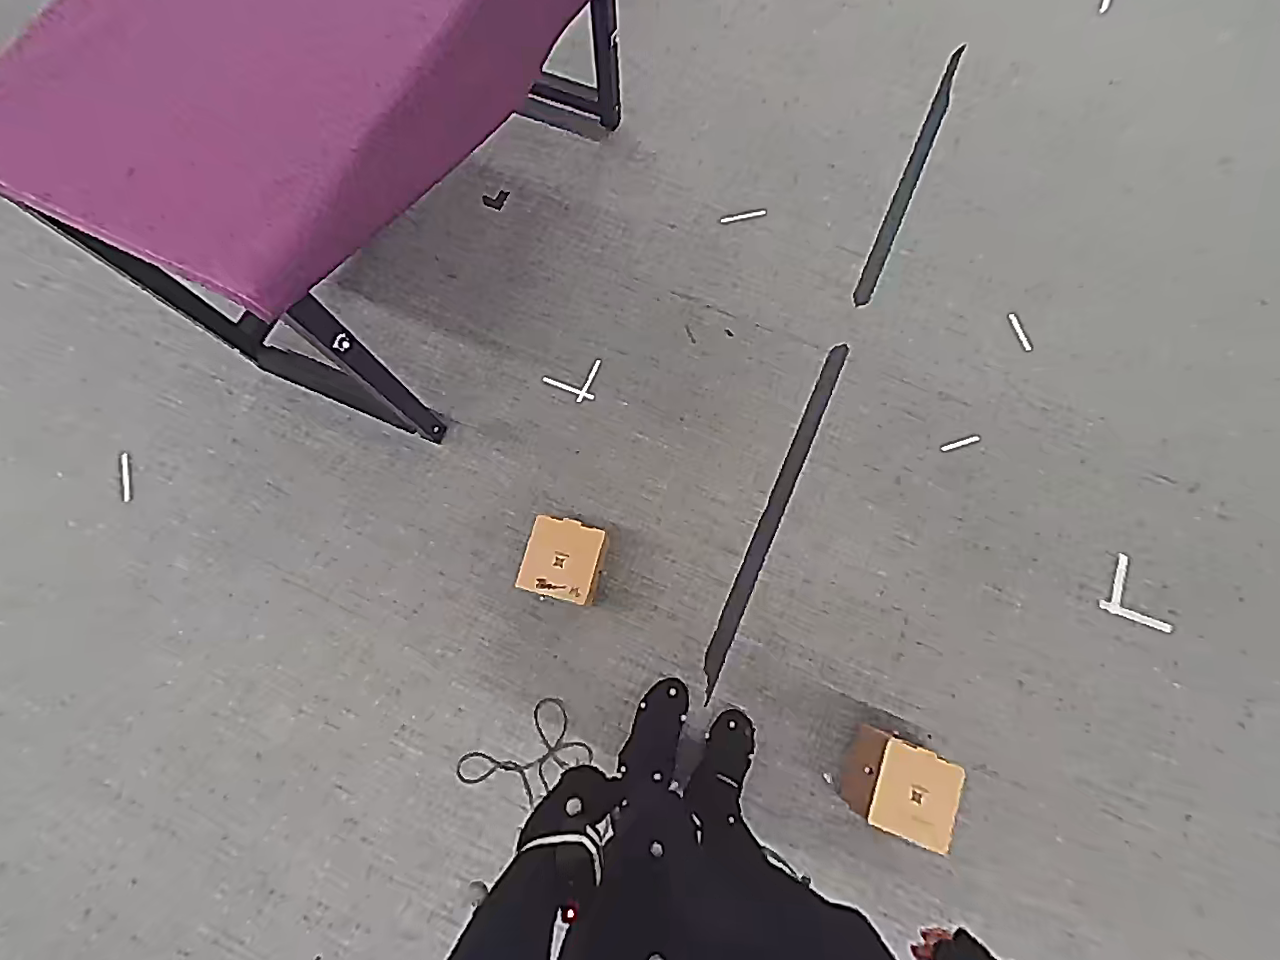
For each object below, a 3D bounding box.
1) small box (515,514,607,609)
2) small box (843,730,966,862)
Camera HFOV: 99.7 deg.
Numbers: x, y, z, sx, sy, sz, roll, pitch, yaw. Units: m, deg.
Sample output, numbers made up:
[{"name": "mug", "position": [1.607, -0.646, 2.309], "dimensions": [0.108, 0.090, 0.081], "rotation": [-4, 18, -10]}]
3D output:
[{"name": "small box", "position": [-0.178, 0.200, 1.290], "dimensions": [0.168, 0.176, 0.179], "rotation": [15, 75, 4]}, {"name": "small box", "position": [0.562, 0.667, 1.168], "dimensions": [0.168, 0.176, 0.179], "rotation": [21, 77, 7]}]
